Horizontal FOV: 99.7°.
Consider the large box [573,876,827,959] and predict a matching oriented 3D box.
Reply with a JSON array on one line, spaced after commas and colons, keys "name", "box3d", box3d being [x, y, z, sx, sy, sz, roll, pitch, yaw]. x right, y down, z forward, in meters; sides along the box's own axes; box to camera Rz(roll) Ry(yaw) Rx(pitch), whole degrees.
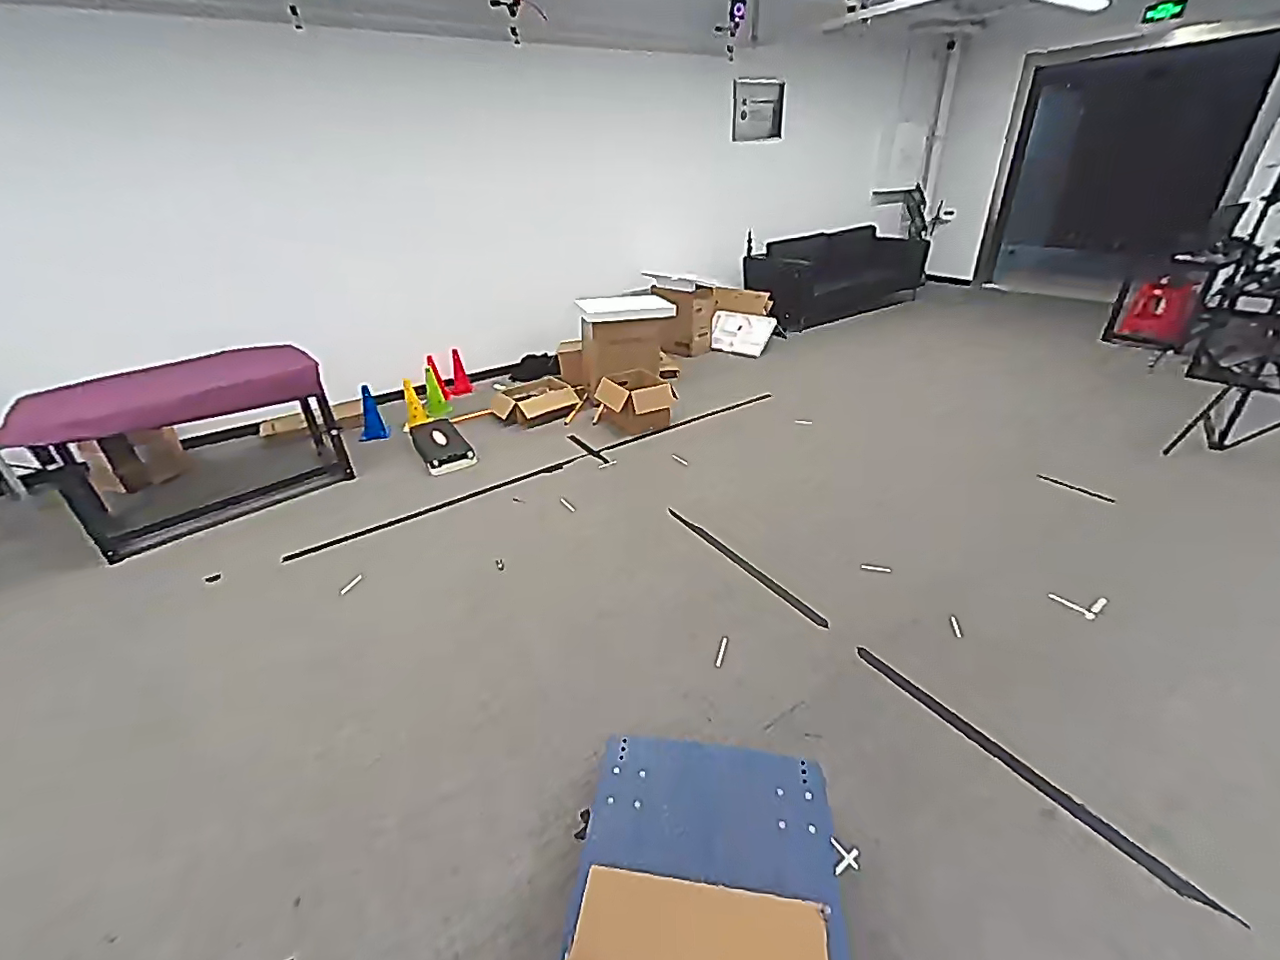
[{"name": "large box", "box3d": [0.087, 0.916, 0.878, 0.408, 0.320, 0.320, 3, 31, 9]}]
